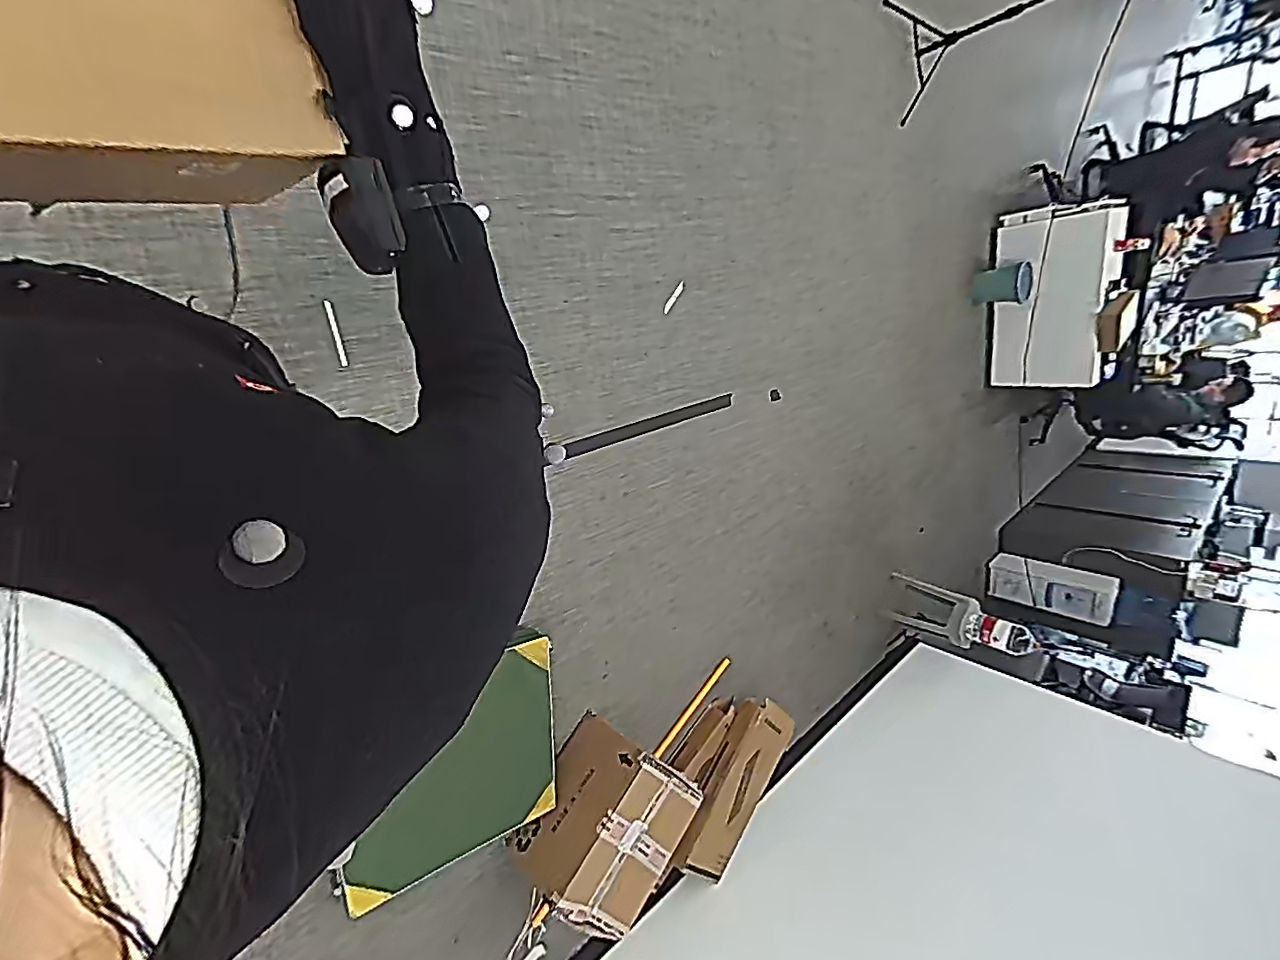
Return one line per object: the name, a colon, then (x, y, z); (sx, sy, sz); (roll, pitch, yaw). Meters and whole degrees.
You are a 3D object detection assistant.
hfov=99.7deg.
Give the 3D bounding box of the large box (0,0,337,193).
large box: (-0.460, -0.341, 0.290); (0.408, 0.320, 0.320); (-23, 121, -37)
